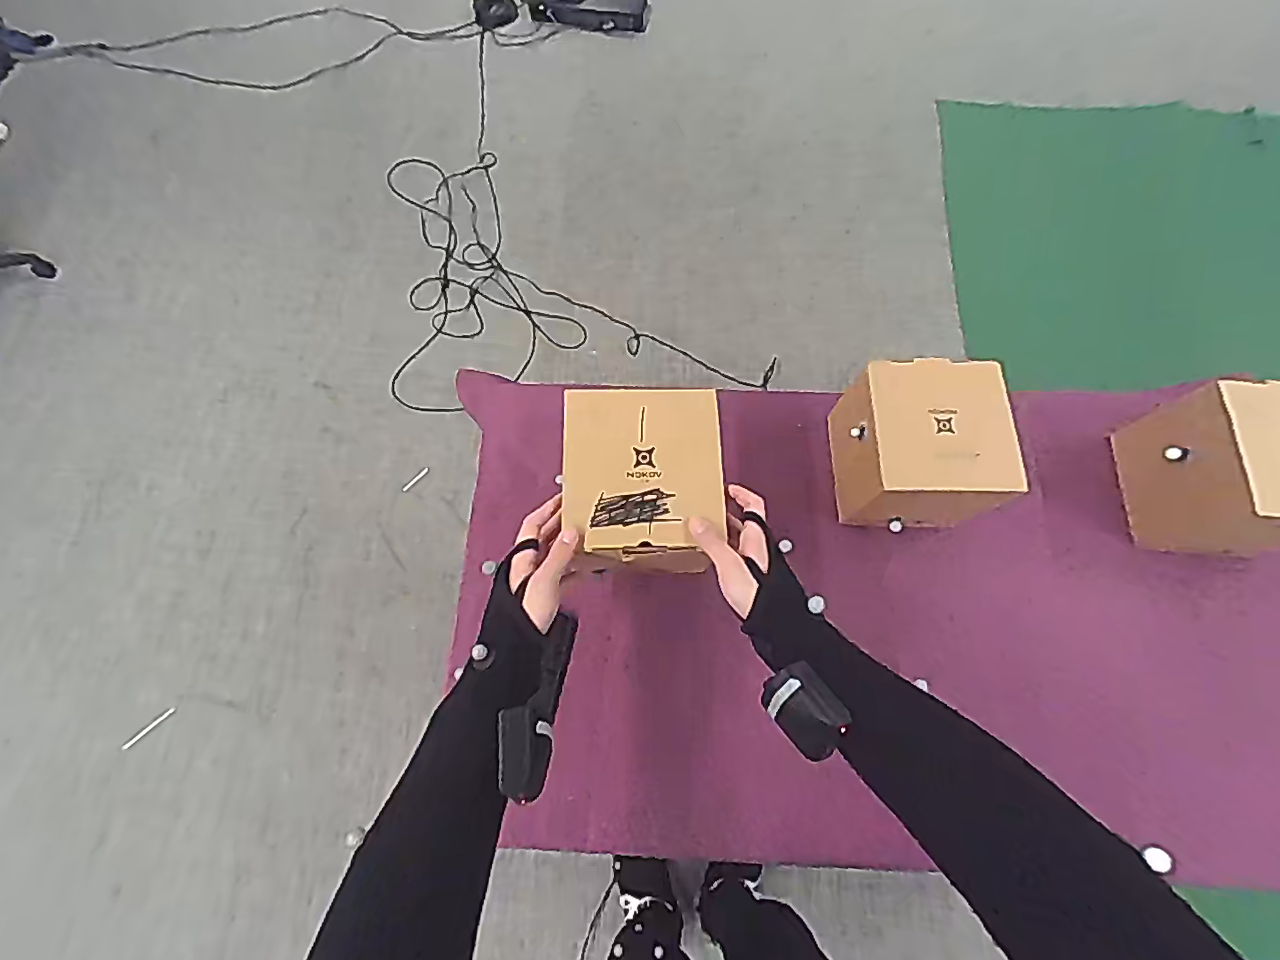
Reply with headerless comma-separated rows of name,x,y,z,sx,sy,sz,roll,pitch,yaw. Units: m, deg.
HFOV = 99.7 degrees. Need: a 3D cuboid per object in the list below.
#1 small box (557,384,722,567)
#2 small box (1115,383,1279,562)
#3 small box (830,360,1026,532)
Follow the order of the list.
small box,-0.002,0.005,0.630,0.168,0.176,0.179,0,71,-3
small box,0.773,-0.003,0.700,0.168,0.176,0.179,5,69,4
small box,0.364,-0.040,0.722,0.168,0.176,0.179,1,70,2
